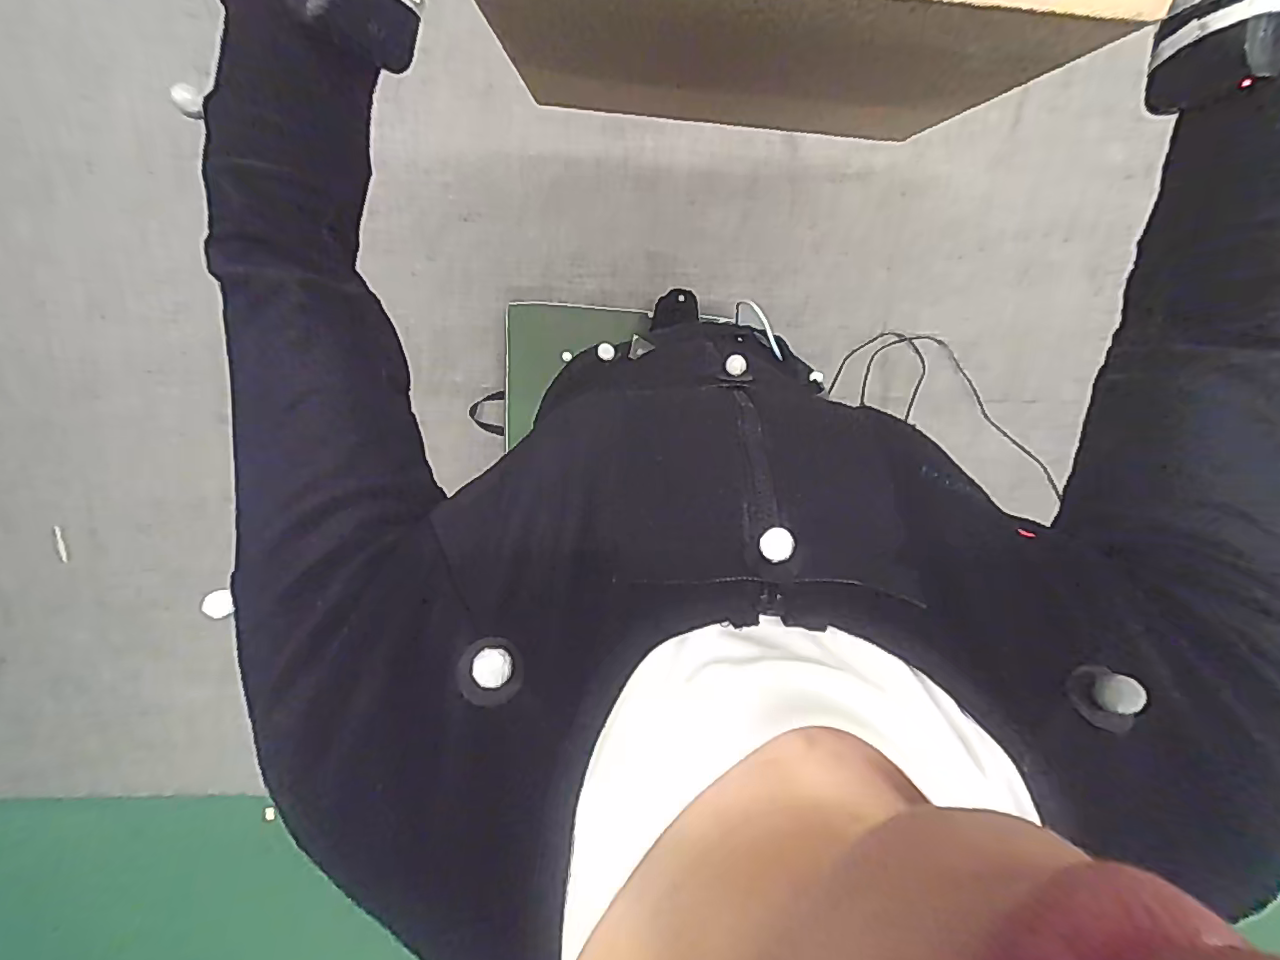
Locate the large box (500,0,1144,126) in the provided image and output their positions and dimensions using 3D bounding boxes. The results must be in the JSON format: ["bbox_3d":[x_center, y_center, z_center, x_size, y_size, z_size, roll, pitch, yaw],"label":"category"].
[{"bbox_3d":[0.105,-0.480,0.387,0.408,0.320,0.320,3,112,-3],"label":"large box"}]
